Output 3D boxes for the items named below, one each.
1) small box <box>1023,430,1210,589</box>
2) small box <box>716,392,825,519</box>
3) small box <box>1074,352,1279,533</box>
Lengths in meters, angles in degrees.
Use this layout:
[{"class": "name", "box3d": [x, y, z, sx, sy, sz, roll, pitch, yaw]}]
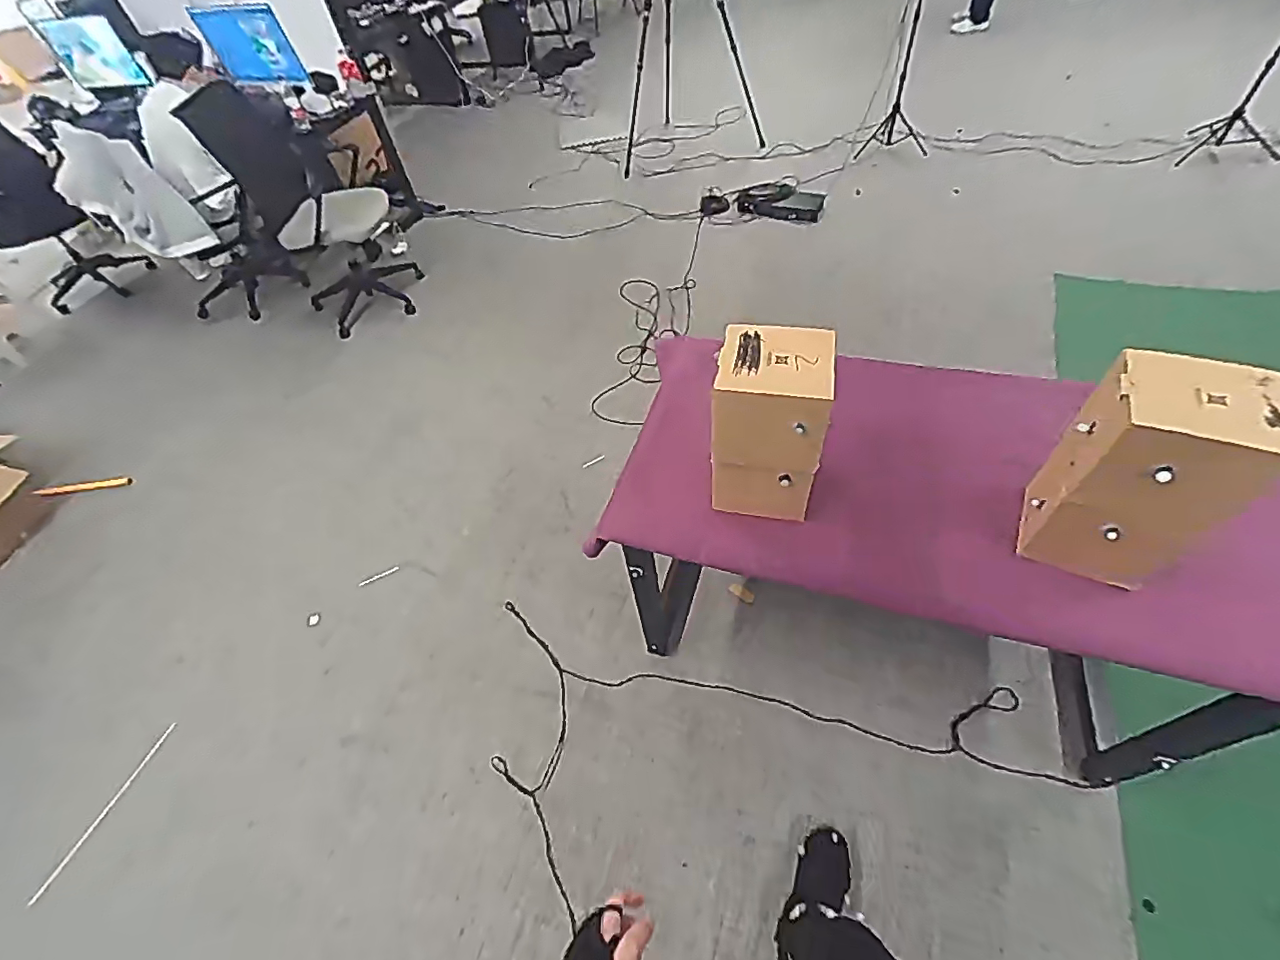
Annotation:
[{"class": "small box", "box3d": [0.762, 0.051, 0.882, 0.179, 0.176, 0.168, 21, 57, 22]}, {"class": "small box", "box3d": [0.245, -0.043, 1.026, 0.179, 0.176, 0.168, 7, 52, 14]}, {"class": "small box", "box3d": [0.744, -0.050, 0.755, 0.179, 0.176, 0.168, 17, 56, 22]}]
